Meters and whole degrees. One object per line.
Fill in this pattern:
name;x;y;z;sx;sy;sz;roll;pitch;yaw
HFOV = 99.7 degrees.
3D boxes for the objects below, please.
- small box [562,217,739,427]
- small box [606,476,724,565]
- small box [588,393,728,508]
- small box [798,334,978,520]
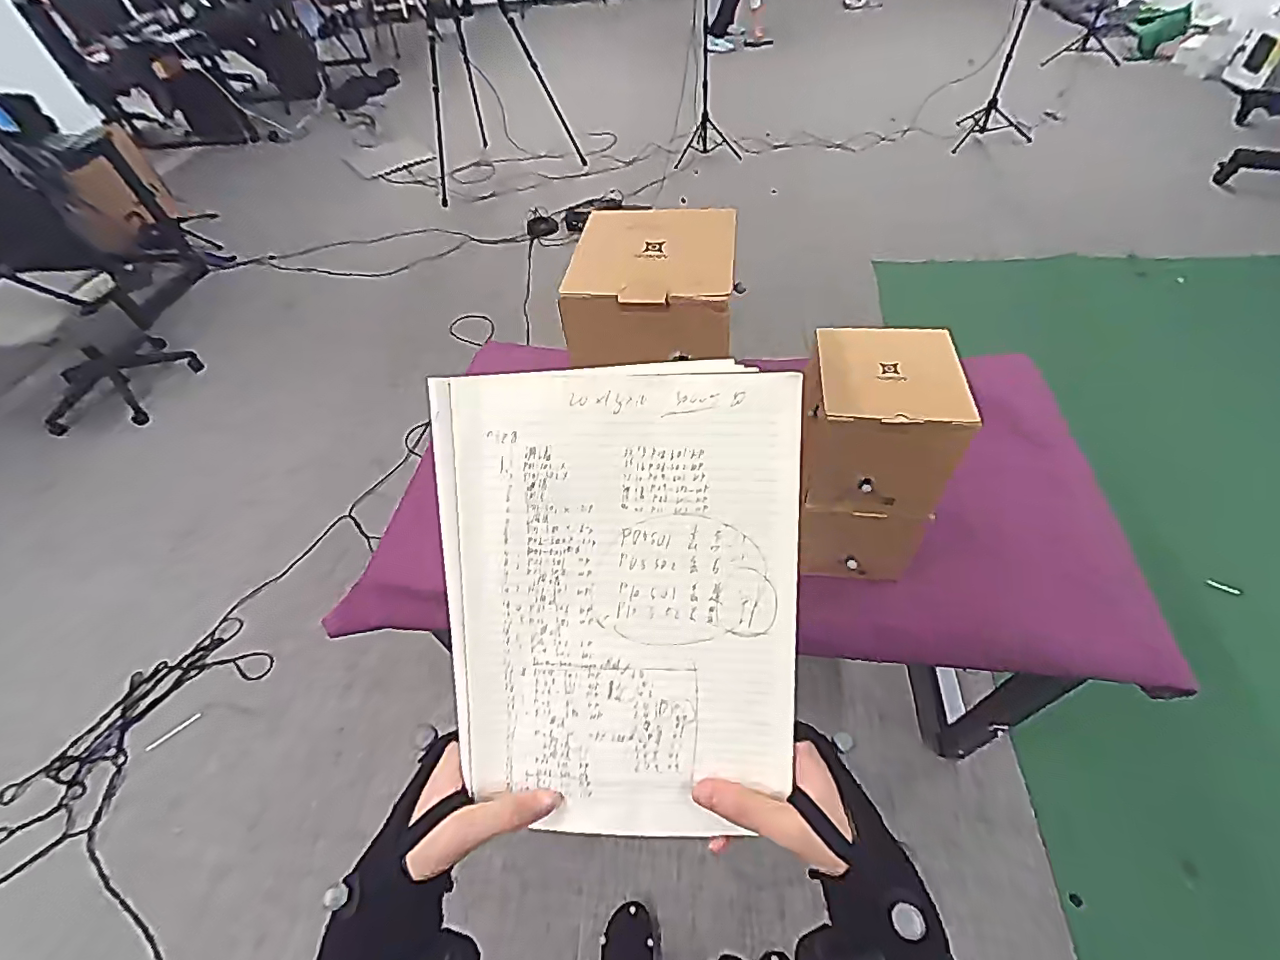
small box;0.023;-0.179;0.621;0.168;0.176;0.179;4;50;9
small box;0.050;0.022;0.880;0.168;0.176;0.179;4;52;8
small box;0.036;-0.078;0.749;0.168;0.176;0.179;3;50;9
small box;0.307;-0.071;0.715;0.168;0.176;0.179;4;50;9
